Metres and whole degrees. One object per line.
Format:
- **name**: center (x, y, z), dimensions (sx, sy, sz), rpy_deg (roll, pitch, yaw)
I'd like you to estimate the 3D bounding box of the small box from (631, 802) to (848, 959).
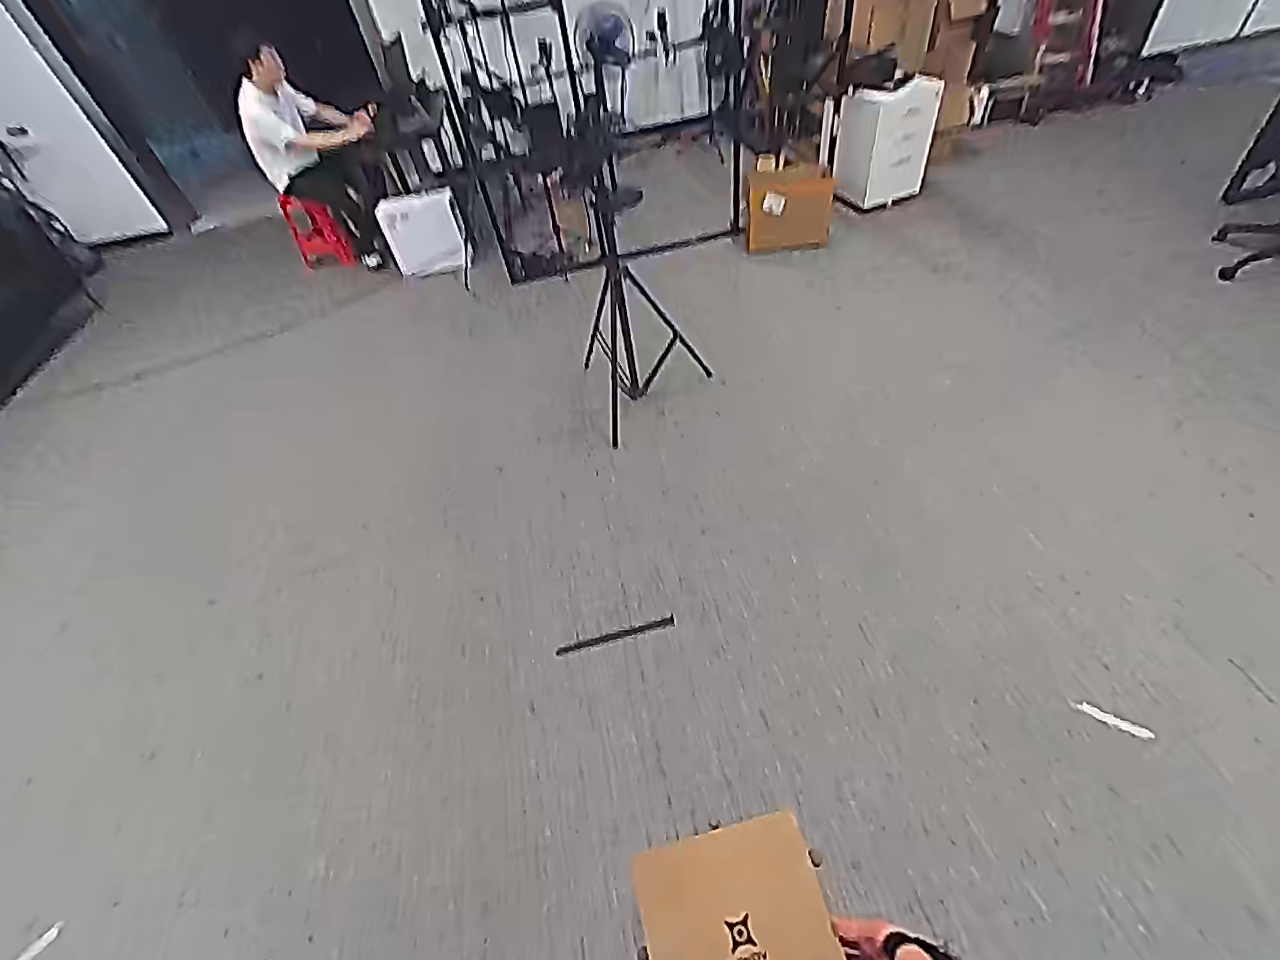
- **small box**: center (0.096, 0.440, 0.525), dimensions (0.168, 0.176, 0.179), rpy_deg (-16, 55, -2)
